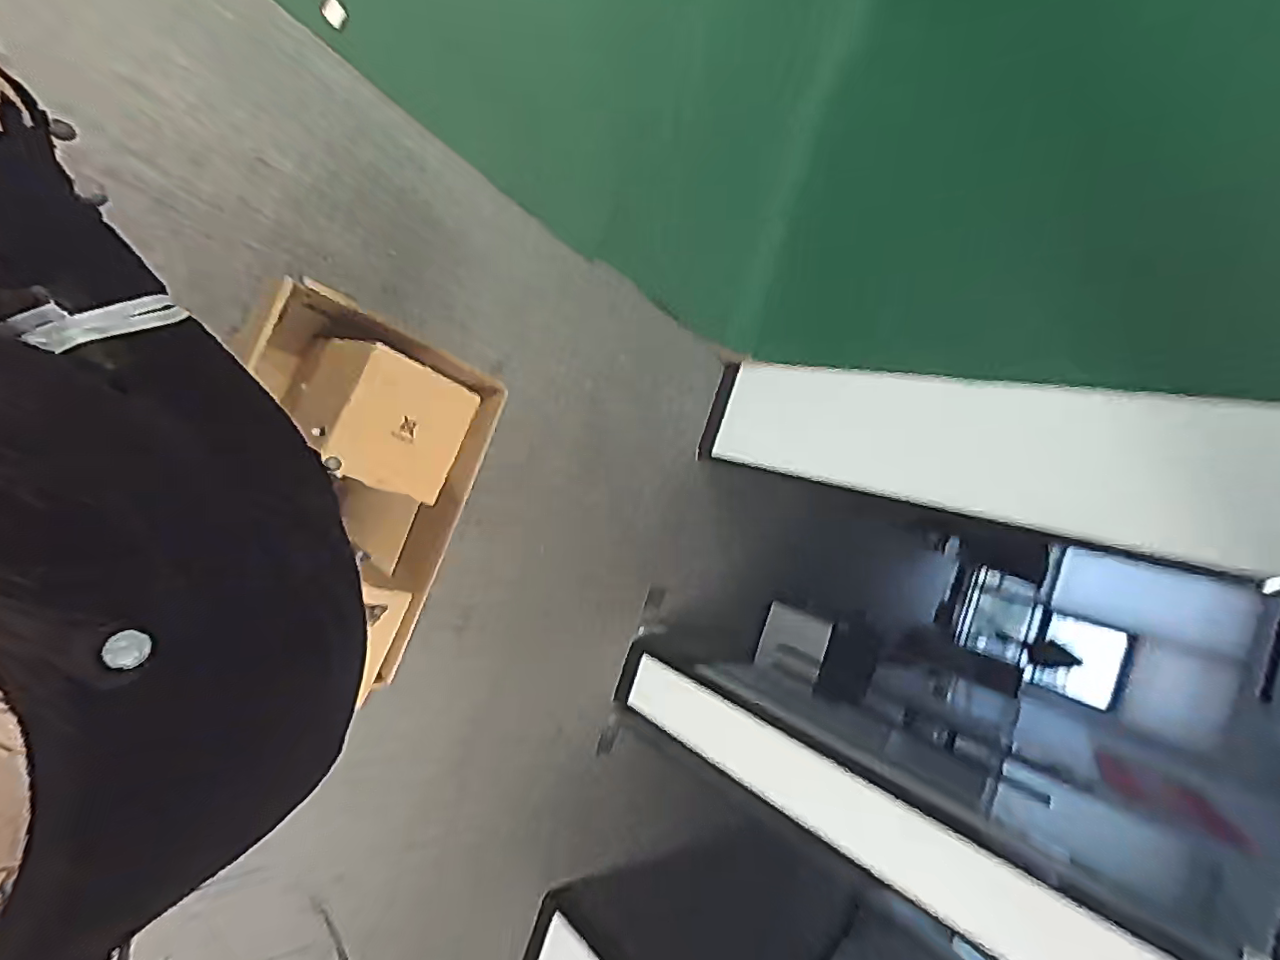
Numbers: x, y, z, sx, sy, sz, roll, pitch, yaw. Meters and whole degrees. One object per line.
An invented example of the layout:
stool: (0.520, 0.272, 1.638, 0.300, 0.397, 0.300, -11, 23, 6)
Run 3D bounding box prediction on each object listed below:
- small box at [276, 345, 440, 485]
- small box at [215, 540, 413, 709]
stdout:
small box: (-0.477, -0.113, 0.909, 0.168, 0.176, 0.179, 28, 82, -47)
small box: (-0.467, 0.202, 0.771, 0.168, 0.176, 0.179, 30, 81, -48)
